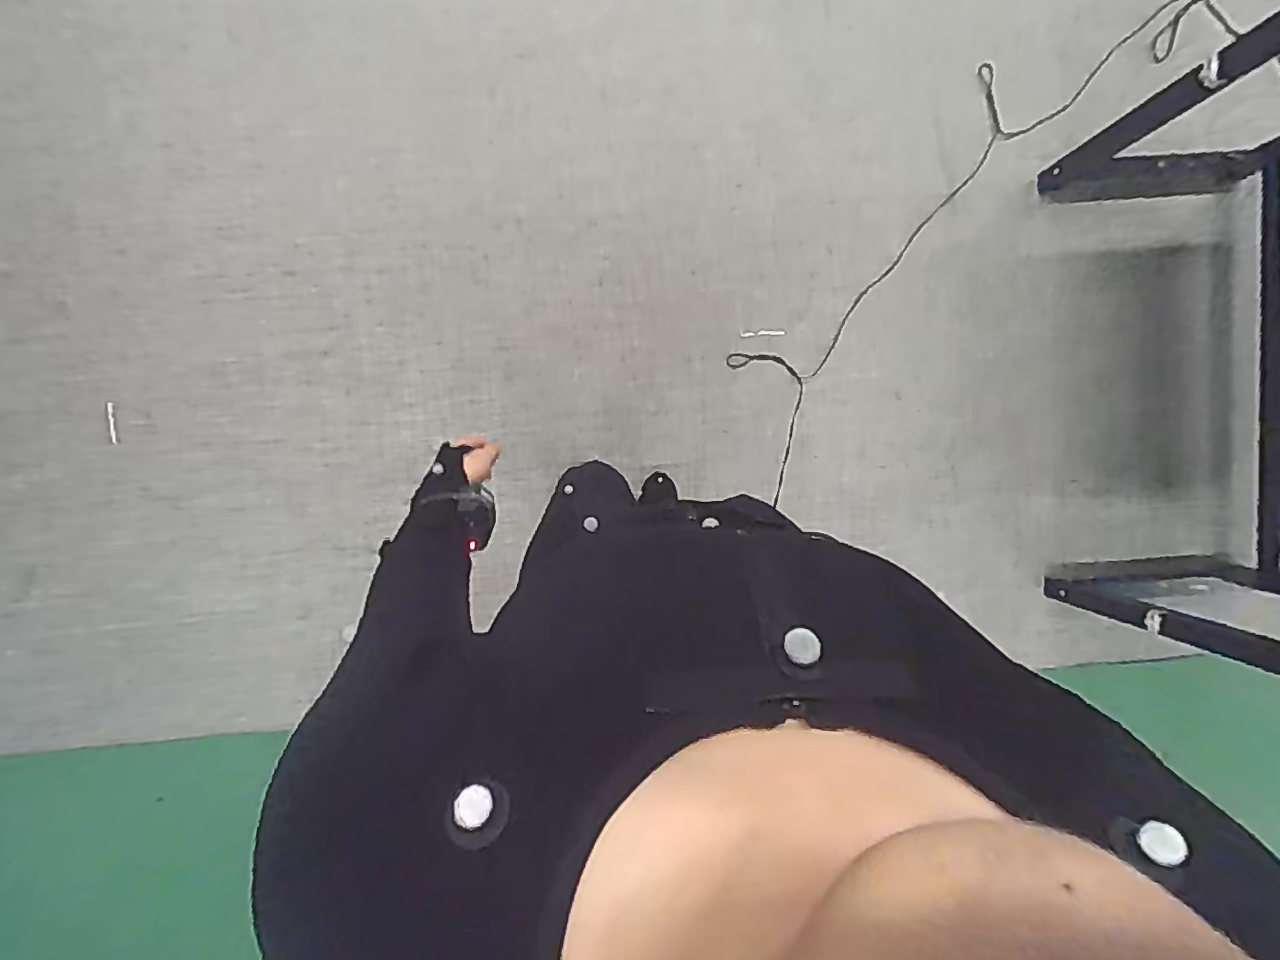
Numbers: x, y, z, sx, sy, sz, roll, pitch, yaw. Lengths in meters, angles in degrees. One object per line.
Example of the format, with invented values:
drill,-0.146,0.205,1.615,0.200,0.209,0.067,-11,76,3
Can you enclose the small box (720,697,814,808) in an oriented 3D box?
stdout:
small box,0.275,0.598,1.202,0.179,0.176,0.168,-1,92,-2
